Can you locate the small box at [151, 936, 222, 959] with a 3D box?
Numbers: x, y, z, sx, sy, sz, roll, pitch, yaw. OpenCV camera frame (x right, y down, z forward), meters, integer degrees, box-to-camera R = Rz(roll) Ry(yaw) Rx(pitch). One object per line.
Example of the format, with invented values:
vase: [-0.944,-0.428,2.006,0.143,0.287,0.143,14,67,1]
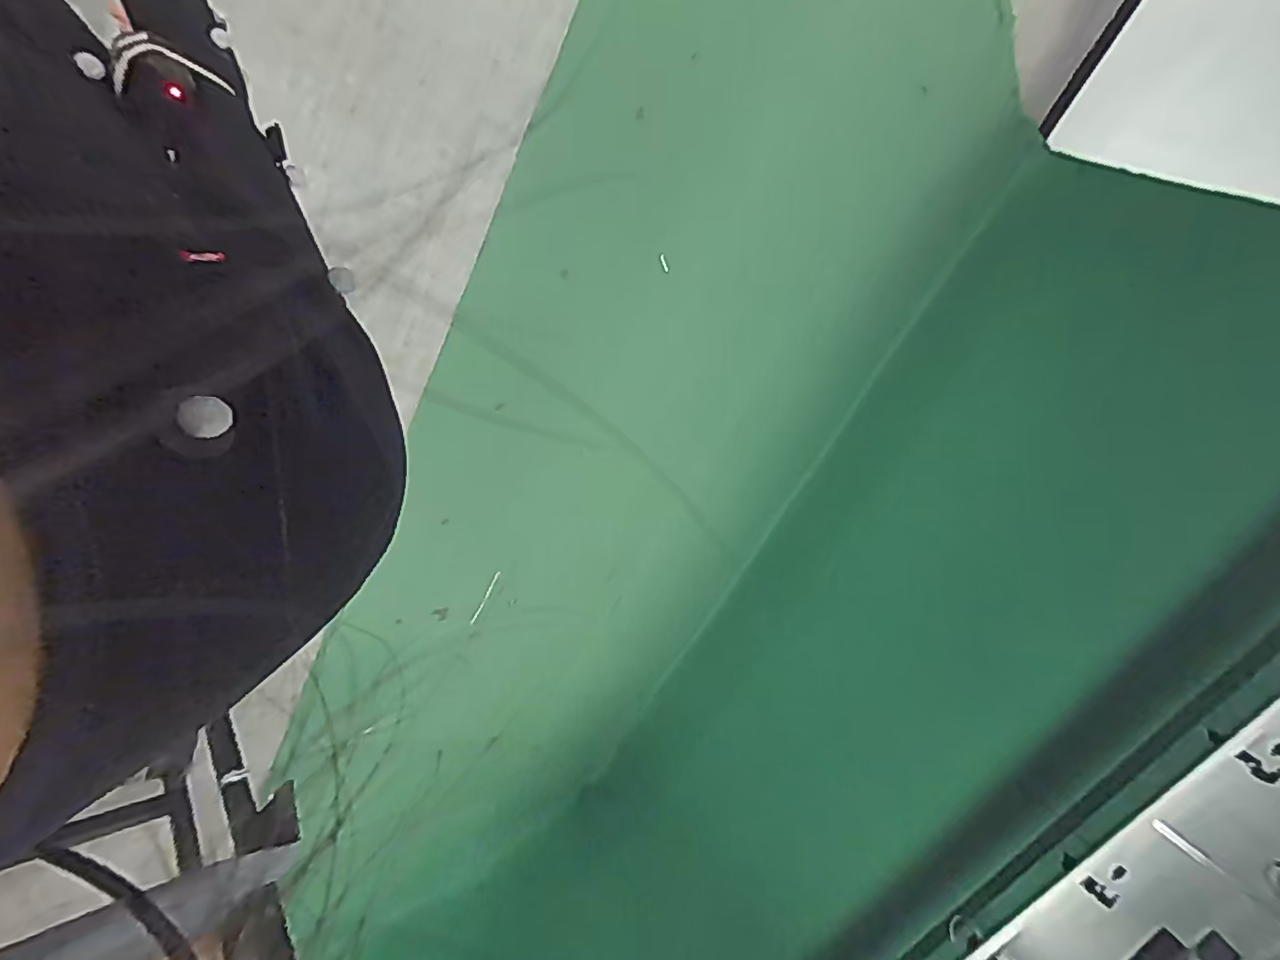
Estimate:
small box: [-1.051,1.178,1.208,0.168,0.176,0.179,9,118,-51]
